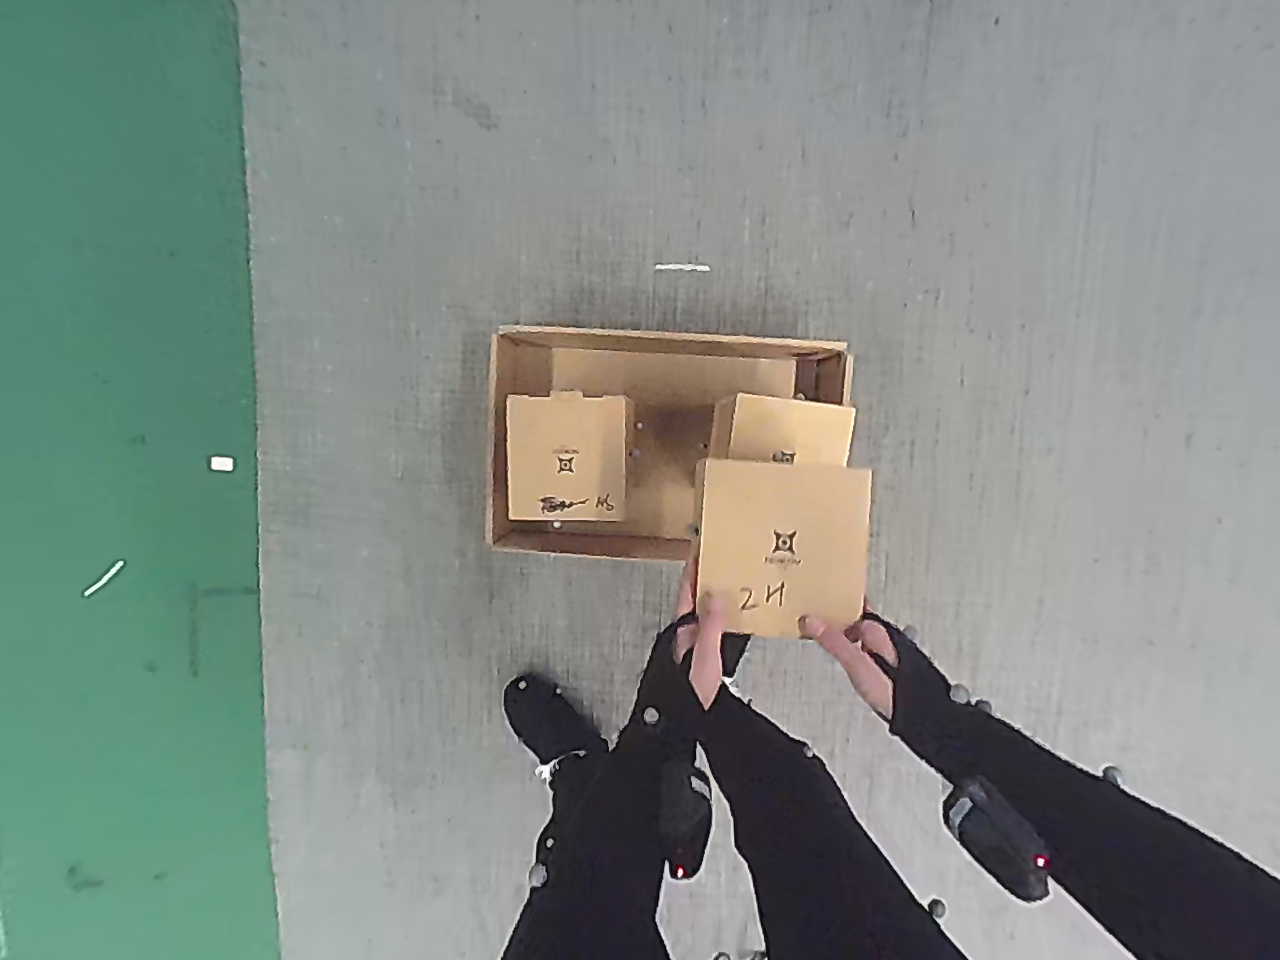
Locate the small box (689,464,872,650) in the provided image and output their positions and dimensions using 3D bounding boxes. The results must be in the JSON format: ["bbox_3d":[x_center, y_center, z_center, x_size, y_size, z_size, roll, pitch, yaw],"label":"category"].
[{"bbox_3d":[0.145,0.075,0.614,0.168,0.176,0.179,4,91,3],"label":"small box"}]

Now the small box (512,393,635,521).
[{"bbox_3d":[-0.094,-0.038,0.825,0.168,0.176,0.179,1,96,1],"label":"small box"}]

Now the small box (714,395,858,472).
[{"bbox_3d":[0.206,-0.029,0.822,0.168,0.176,0.179,7,97,0],"label":"small box"}]
